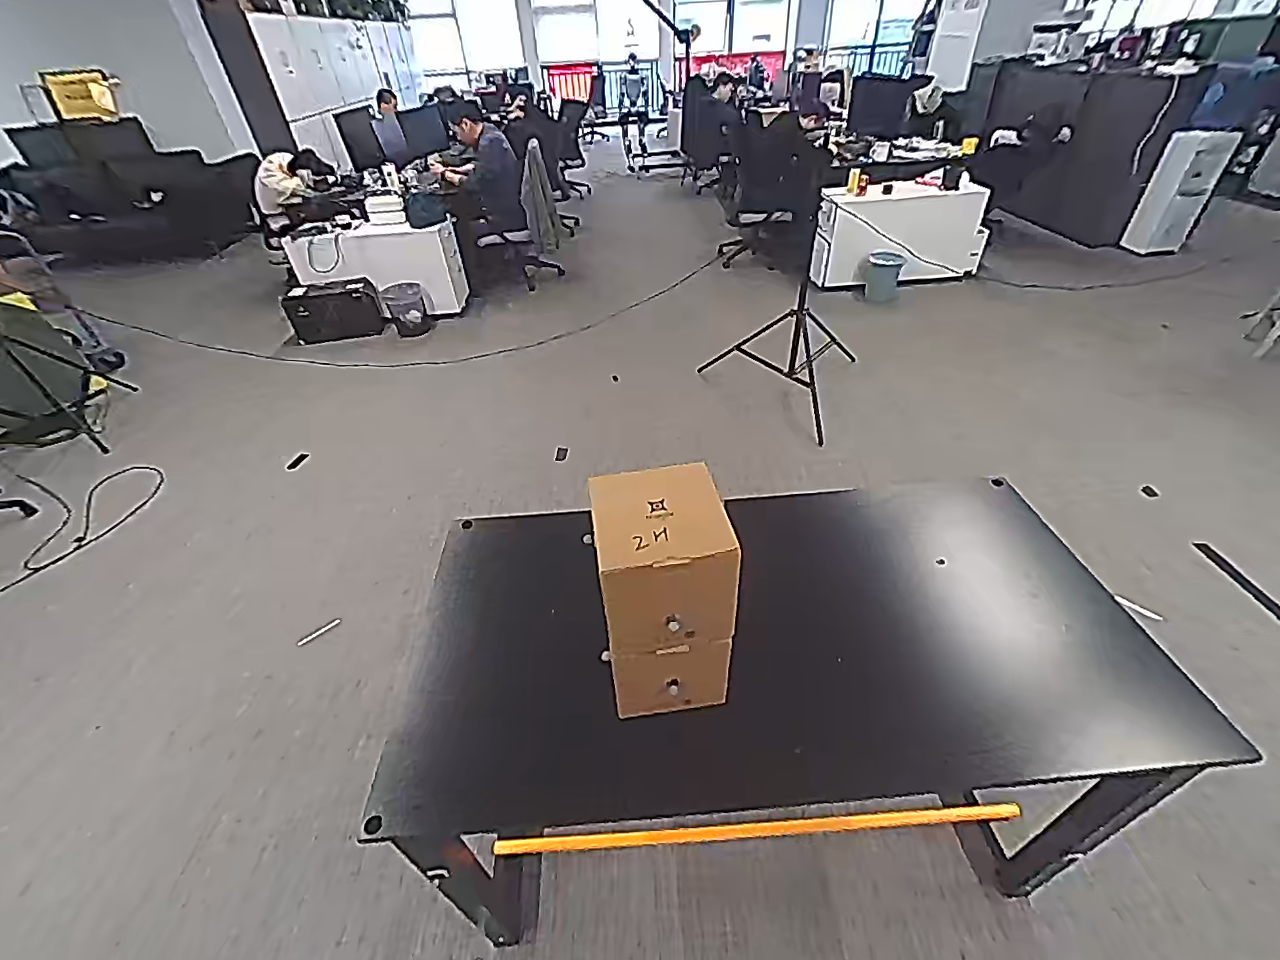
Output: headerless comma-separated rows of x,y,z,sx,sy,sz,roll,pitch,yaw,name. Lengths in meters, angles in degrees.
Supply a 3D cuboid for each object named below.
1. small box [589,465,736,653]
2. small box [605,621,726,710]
0.024,0.105,0.737,0.168,0.176,0.179,-9,39,-5,small box
0.034,0.236,0.838,0.168,0.176,0.179,-7,39,-4,small box
